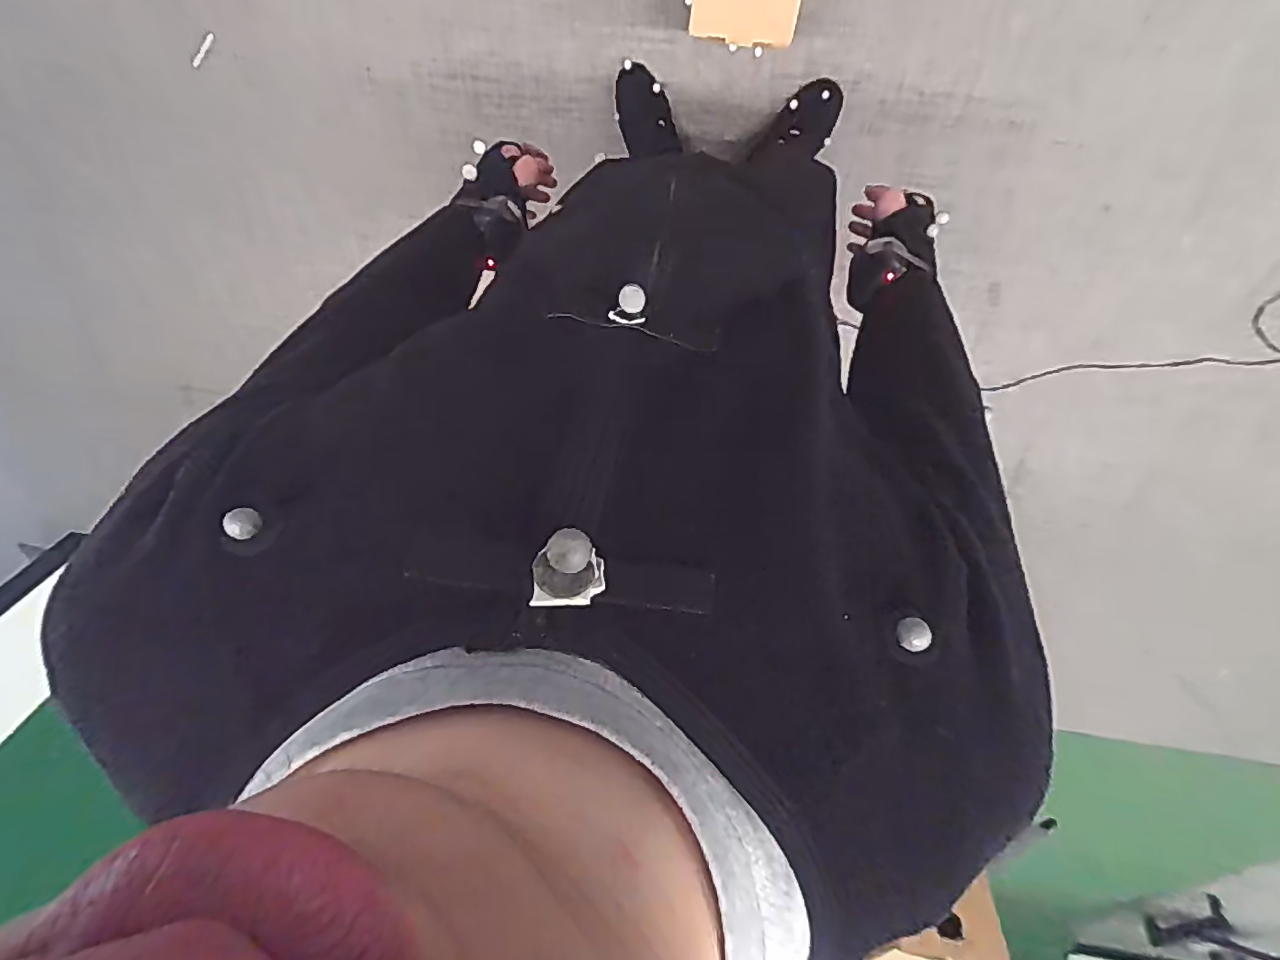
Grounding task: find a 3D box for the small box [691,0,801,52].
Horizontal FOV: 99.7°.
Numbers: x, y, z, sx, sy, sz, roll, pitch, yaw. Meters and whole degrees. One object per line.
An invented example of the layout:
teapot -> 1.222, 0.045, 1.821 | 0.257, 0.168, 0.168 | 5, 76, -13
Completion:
small box -> 0.179, -0.808, 0.865 | 0.168, 0.176, 0.179 | 8, 130, 2
